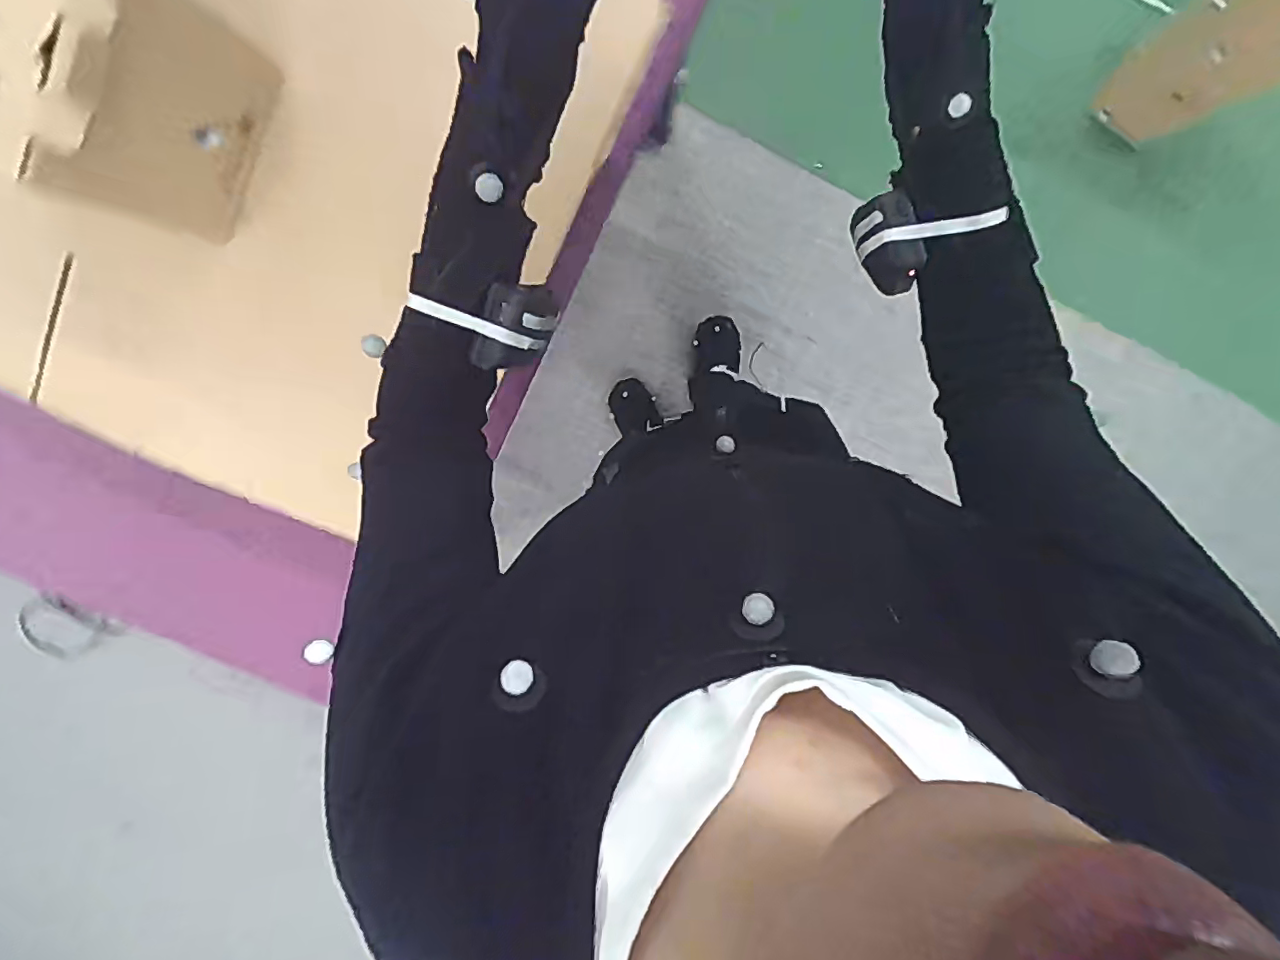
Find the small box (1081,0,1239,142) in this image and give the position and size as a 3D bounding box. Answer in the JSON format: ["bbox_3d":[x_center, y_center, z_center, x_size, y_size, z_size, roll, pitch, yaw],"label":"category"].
[{"bbox_3d":[1.163,-0.911,1.226,0.168,0.176,0.179,25,102,-7],"label":"small box"}]

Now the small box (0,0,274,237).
[{"bbox_3d":[-0.426,-0.305,0.396,0.179,0.176,0.168,27,101,-5],"label":"small box"}]
